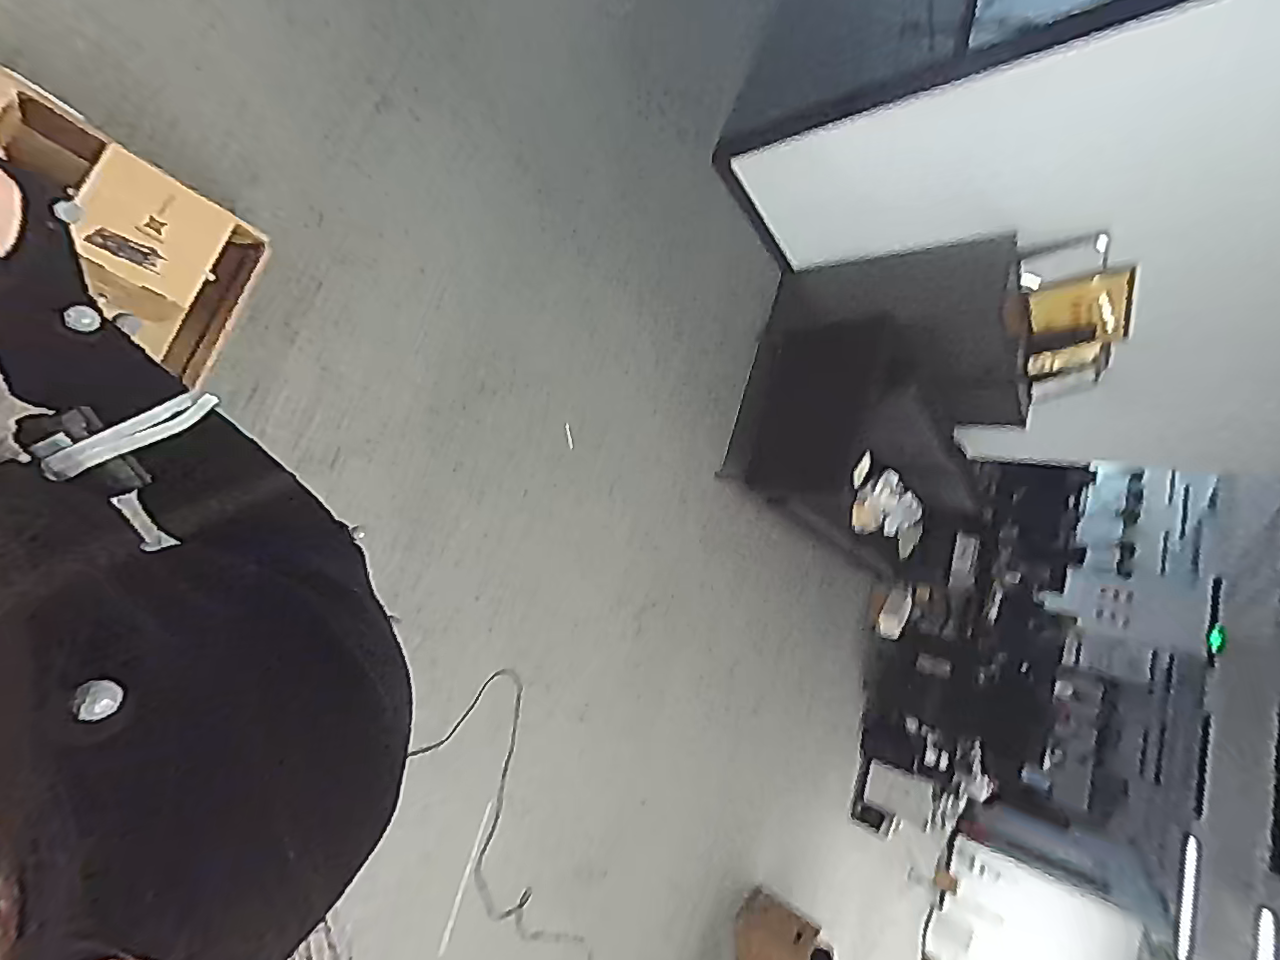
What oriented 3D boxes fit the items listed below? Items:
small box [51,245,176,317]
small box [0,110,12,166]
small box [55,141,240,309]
[{"bbox_3d":[-0.929,-0.419,0.997,0.168,0.176,0.179,31,74,-47],"label":"small box"},{"bbox_3d":[-1.091,-0.517,0.798,0.168,0.176,0.179,37,69,-46],"label":"small box"},{"bbox_3d":[-0.806,-0.401,0.889,0.168,0.176,0.179,31,73,-46],"label":"small box"}]
